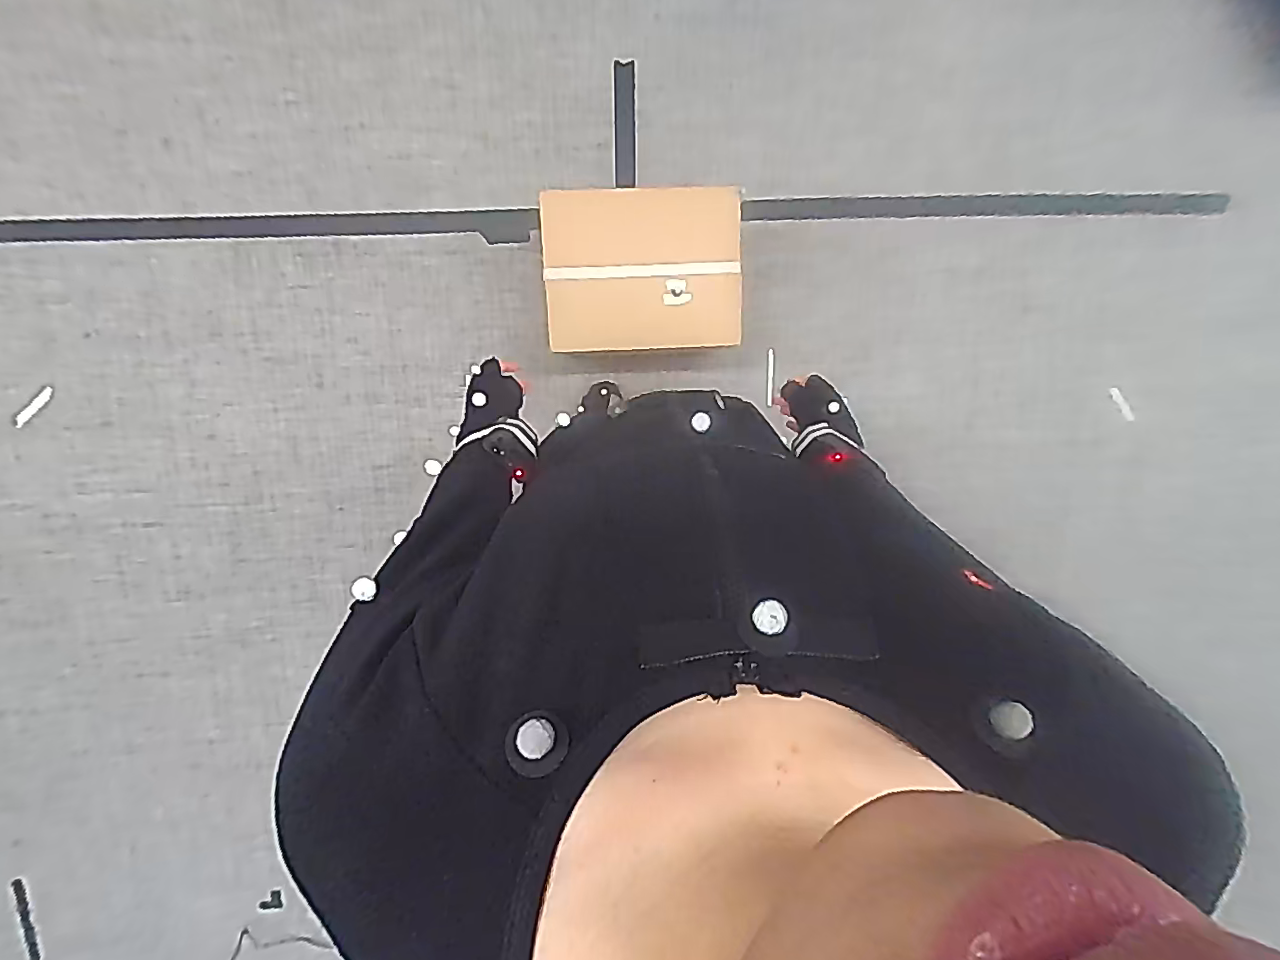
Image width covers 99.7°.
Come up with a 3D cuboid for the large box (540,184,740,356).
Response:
[{"bbox_3d":[-0.005,-0.462,1.253,0.408,0.320,0.320,-4,102,-4],"label":"large box"}]
